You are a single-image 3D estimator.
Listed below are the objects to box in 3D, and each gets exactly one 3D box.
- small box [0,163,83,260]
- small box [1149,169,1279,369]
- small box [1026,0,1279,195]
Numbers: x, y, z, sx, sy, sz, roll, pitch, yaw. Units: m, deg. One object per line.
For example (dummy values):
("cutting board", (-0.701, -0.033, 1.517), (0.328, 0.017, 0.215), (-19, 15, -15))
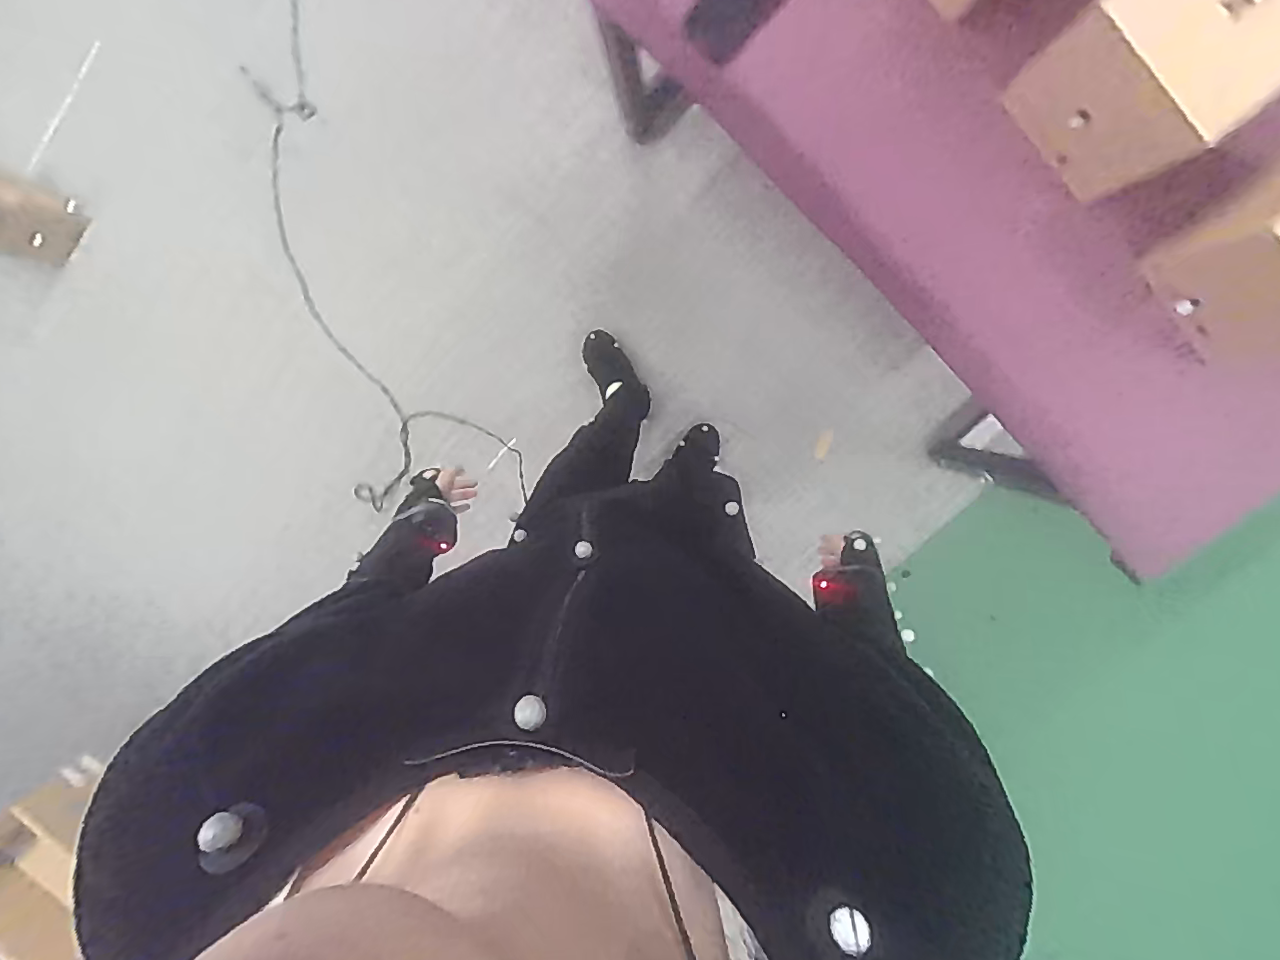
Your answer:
("small box", (-1.676, -0.728, 1.454), (0.168, 0.176, 0.179), (44, 102, -2))
("small box", (0.710, -0.234, 0.559), (0.179, 0.176, 0.168), (-38, 93, 11))
("small box", (0.538, -0.429, 0.543), (0.179, 0.176, 0.168), (-40, 94, 11))
